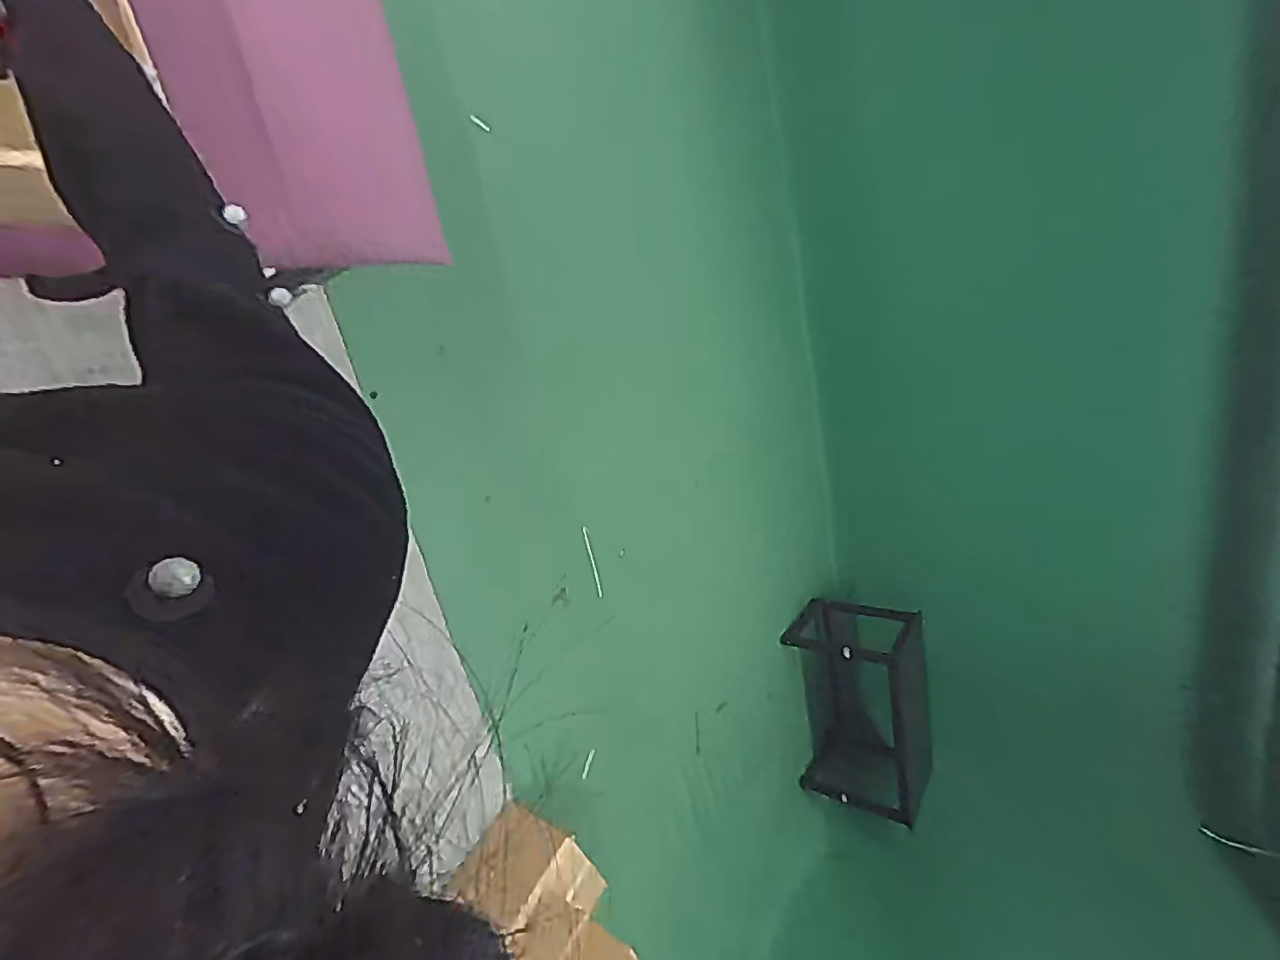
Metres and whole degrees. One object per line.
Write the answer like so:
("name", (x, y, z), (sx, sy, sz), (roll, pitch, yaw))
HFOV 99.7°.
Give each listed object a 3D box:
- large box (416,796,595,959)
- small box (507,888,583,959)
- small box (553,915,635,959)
("large box", (-0.420, 1.340, 1.744), (0.408, 0.320, 0.320), (-49, 127, -41))
("small box", (-0.253, 1.331, 1.560), (0.168, 0.176, 0.179), (-41, 121, -42))
("small box", (-0.126, 1.339, 1.459), (0.179, 0.176, 0.168), (-40, 120, -43))
